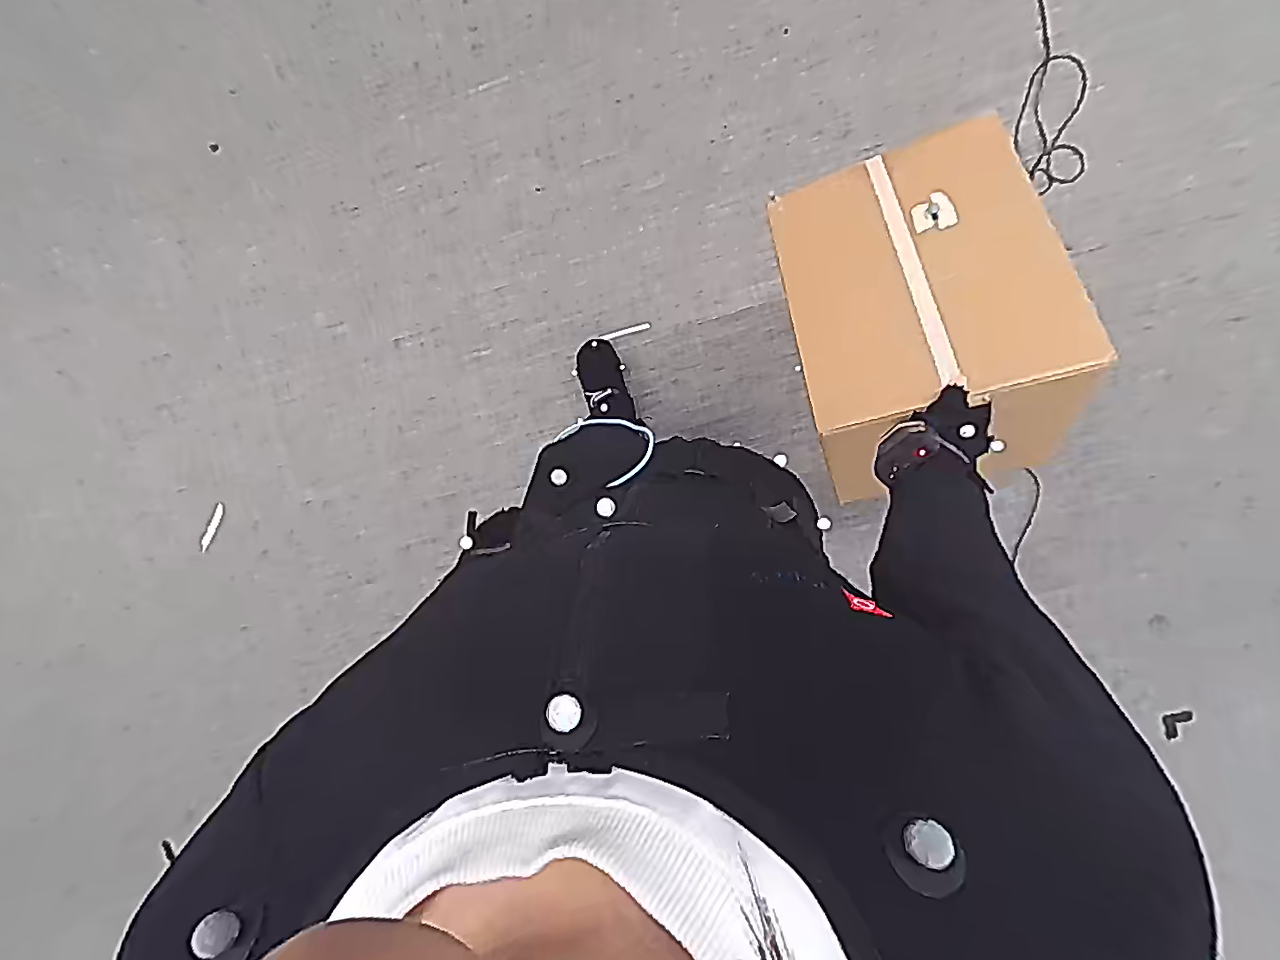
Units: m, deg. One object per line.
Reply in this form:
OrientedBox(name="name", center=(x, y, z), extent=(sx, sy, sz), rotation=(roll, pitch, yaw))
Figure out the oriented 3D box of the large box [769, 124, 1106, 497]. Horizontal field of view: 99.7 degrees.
OrientedBox(name="large box", center=(0.420, -0.231, 0.849), extent=(0.320, 0.320, 0.408), rotation=(-13, 65, 19))
